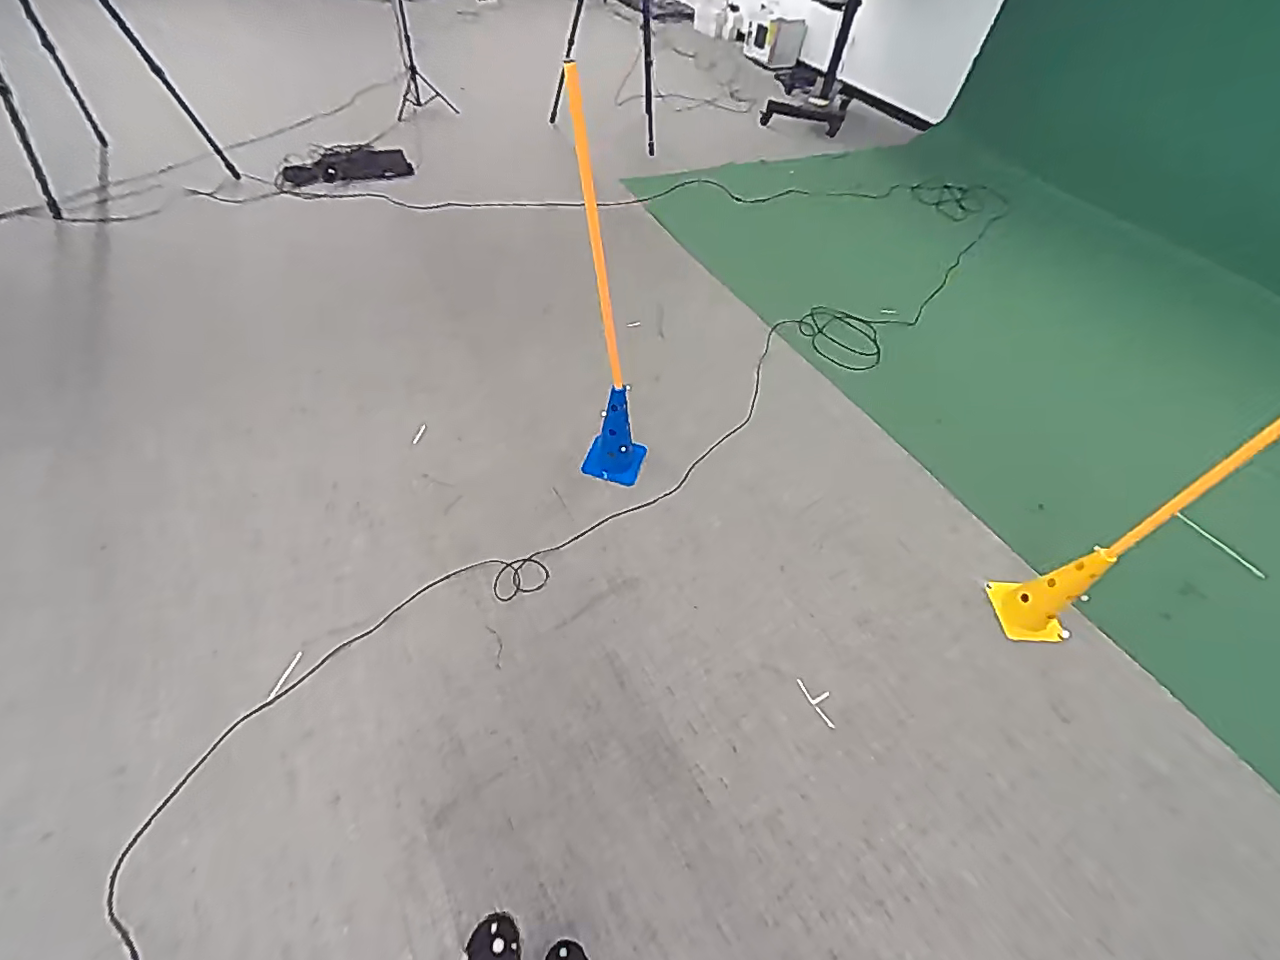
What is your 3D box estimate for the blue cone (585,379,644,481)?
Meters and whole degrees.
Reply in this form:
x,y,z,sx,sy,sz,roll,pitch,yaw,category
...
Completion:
x,y,z,sx,sy,sz,roll,pitch,yaw,category
-0.081,-0.180,1.822,0.193,0.380,0.192,14,52,7,blue cone
